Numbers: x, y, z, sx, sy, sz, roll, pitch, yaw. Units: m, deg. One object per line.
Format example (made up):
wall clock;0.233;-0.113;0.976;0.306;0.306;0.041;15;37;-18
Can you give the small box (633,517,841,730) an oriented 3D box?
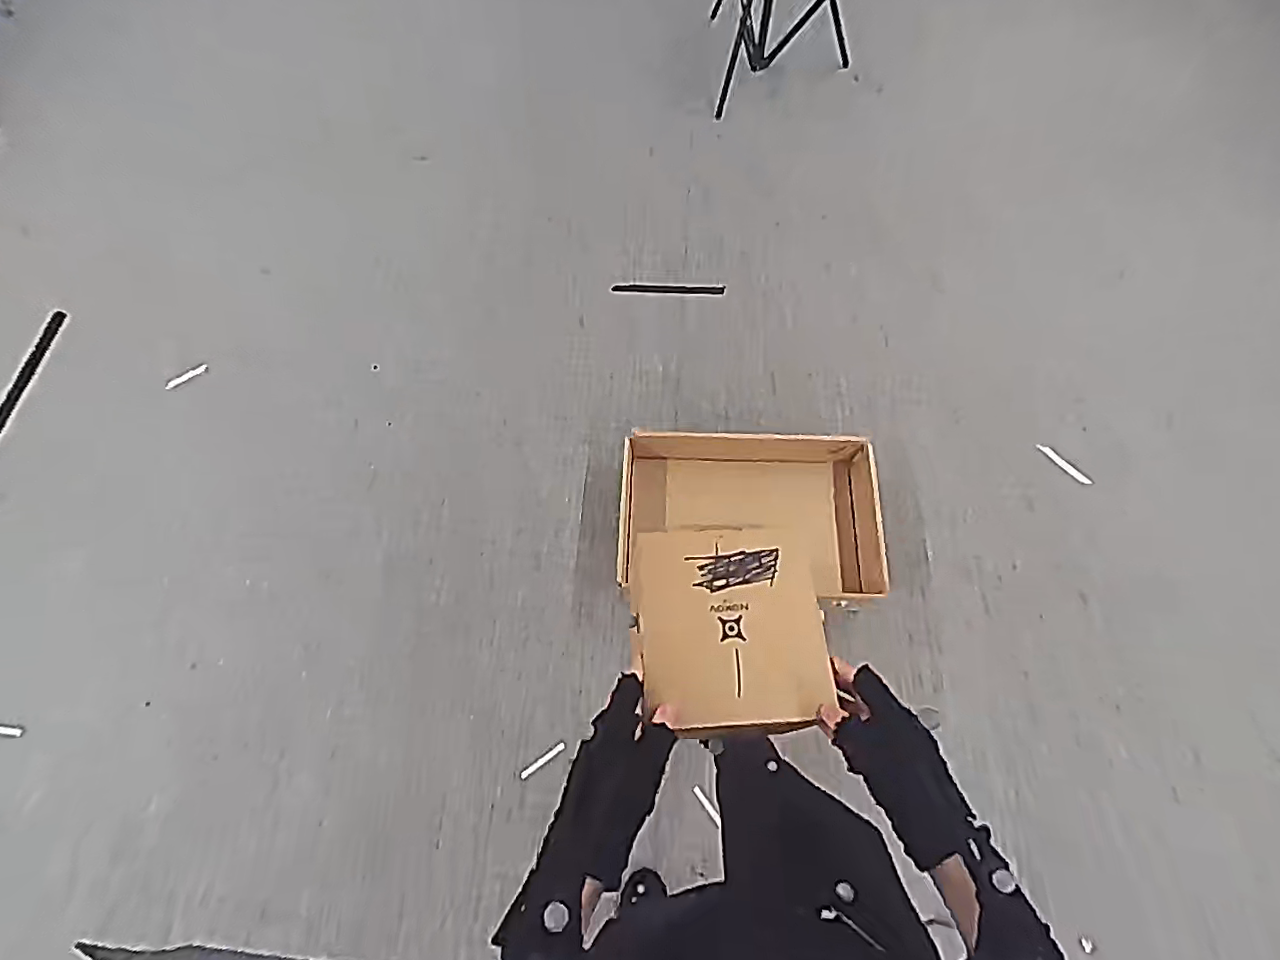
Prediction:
small box;0.081;0.153;0.560;0.168;0.176;0.179;-2;61;-4
